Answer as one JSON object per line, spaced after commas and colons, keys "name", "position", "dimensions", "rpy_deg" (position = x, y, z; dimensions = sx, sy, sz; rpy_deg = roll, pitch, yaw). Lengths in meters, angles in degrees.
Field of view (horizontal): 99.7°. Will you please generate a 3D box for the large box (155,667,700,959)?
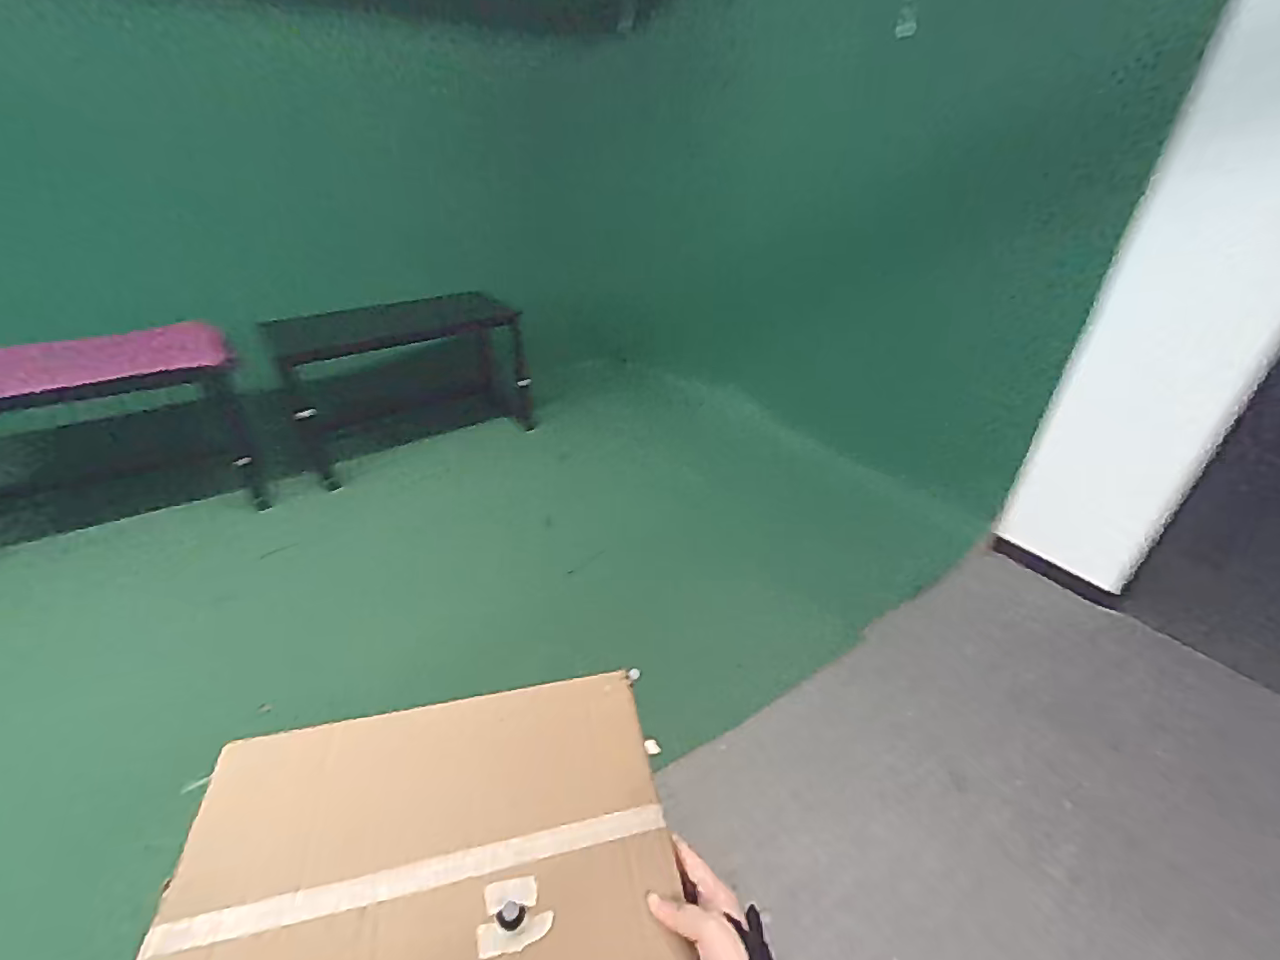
{"name": "large box", "position": [-0.185, 0.447, 0.551], "dimensions": [0.408, 0.320, 0.320], "rpy_deg": [-6, 38, -13]}
